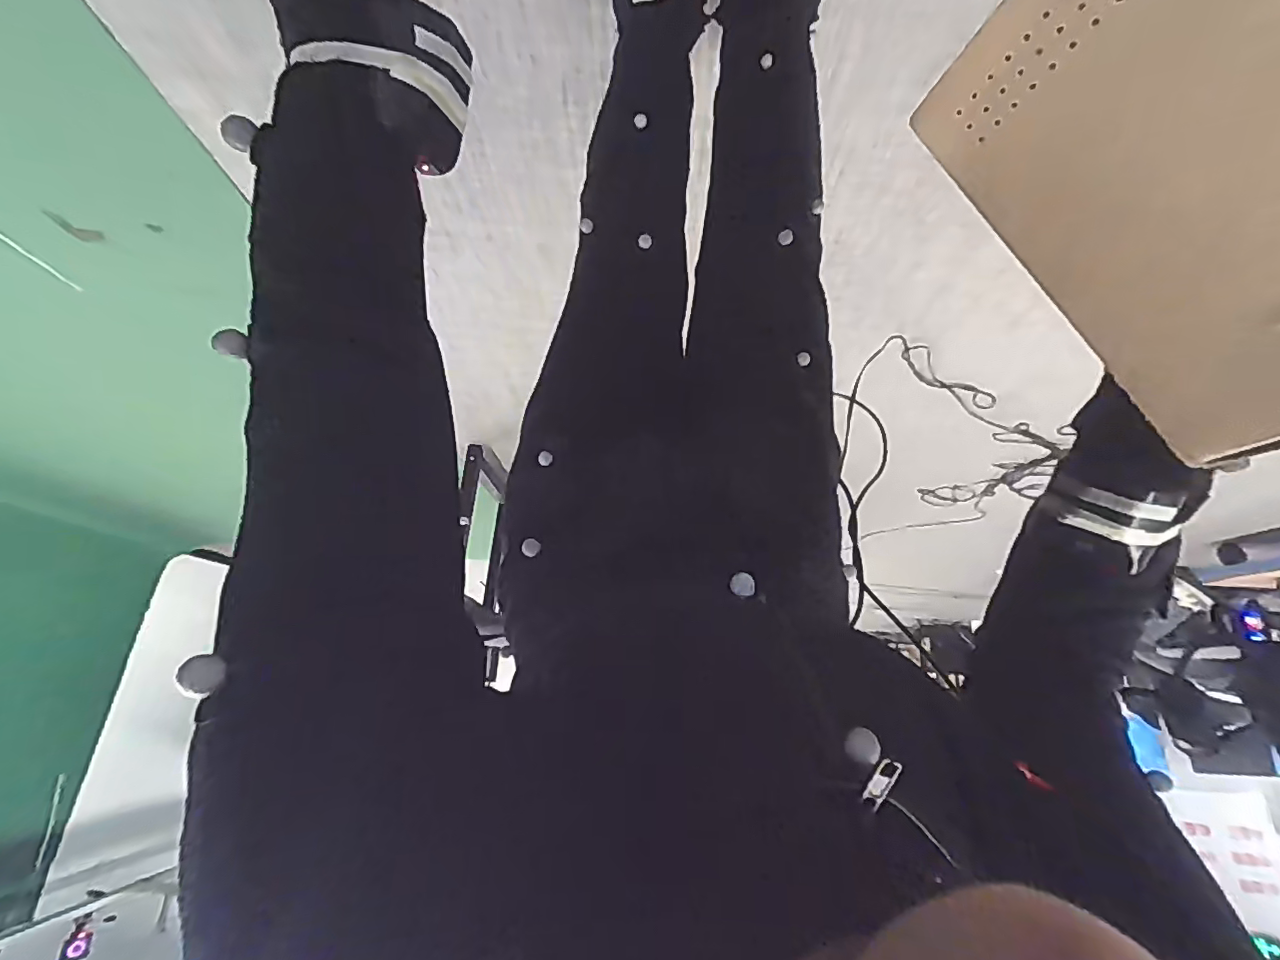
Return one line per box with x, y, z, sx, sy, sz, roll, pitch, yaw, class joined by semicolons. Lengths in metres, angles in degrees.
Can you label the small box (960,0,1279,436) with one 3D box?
0.235;-0.145;0.157;0.168;0.176;0.179;-31;173;-25;small box
